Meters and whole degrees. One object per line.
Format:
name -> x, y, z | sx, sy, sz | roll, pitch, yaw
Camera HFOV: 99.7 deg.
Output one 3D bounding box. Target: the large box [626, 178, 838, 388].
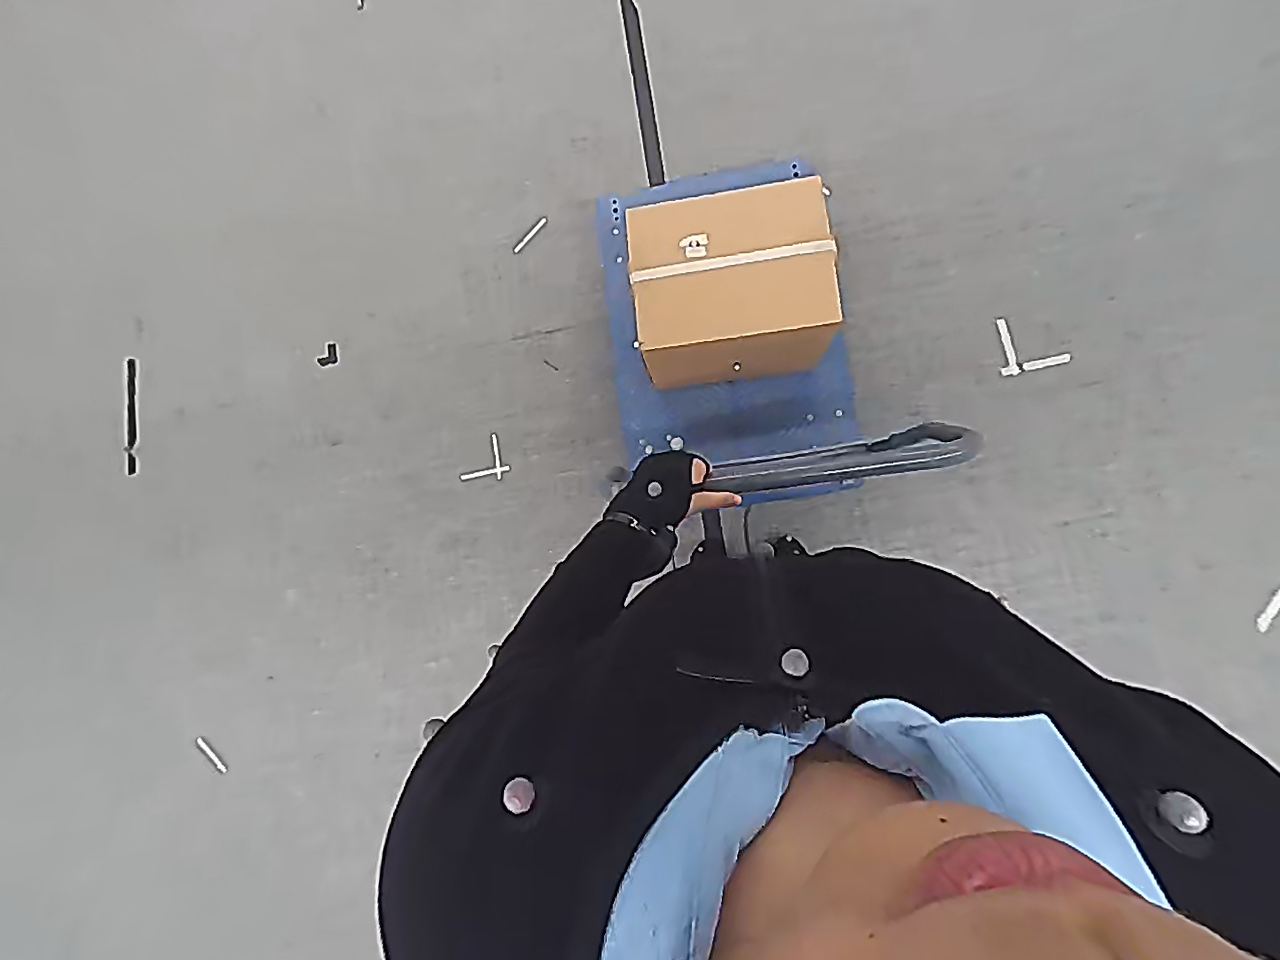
large box -> 0.205, -0.425, 1.252 | 0.408, 0.320, 0.320 | -7, 82, 8
